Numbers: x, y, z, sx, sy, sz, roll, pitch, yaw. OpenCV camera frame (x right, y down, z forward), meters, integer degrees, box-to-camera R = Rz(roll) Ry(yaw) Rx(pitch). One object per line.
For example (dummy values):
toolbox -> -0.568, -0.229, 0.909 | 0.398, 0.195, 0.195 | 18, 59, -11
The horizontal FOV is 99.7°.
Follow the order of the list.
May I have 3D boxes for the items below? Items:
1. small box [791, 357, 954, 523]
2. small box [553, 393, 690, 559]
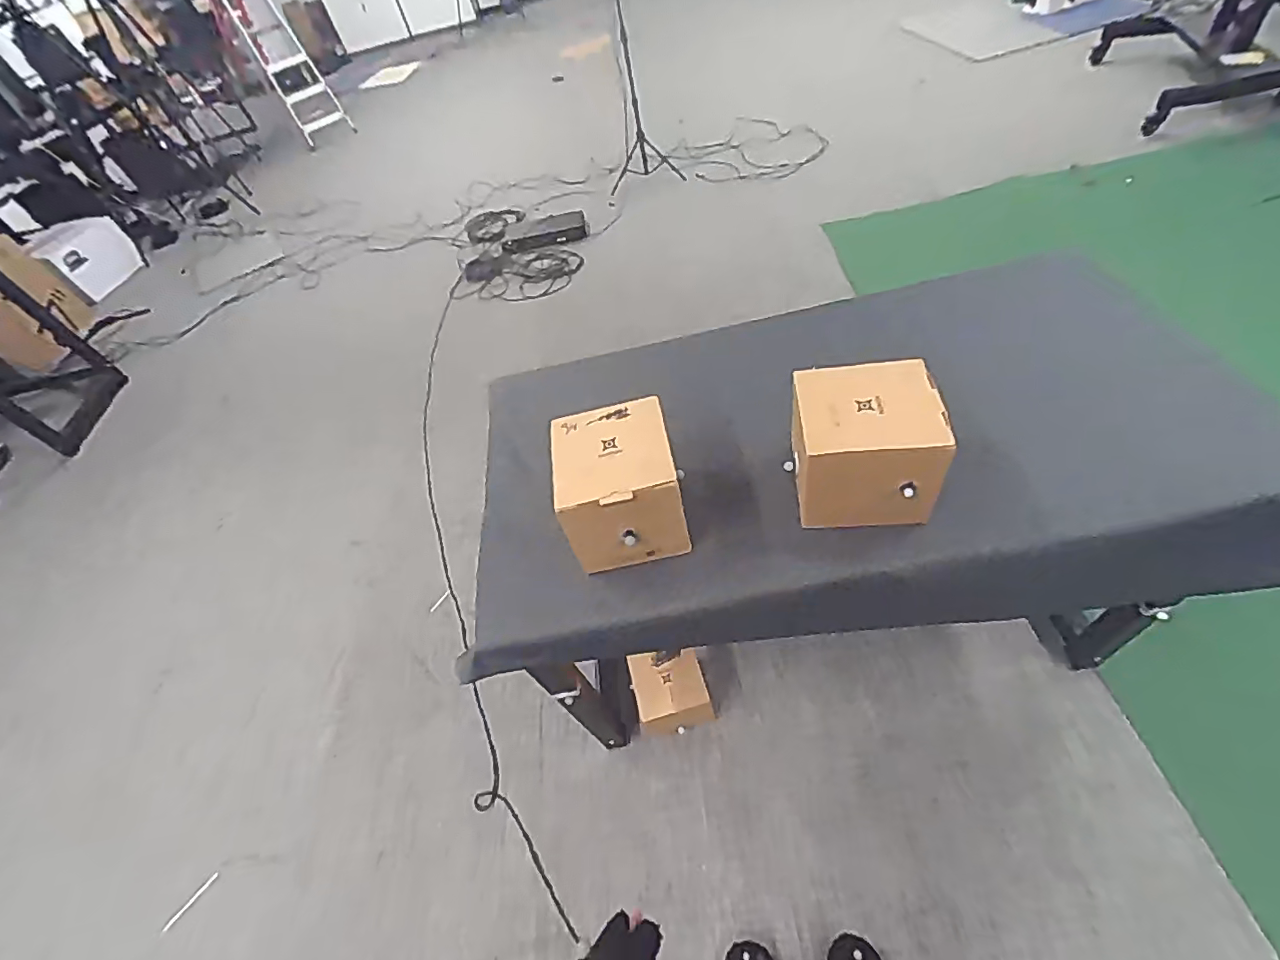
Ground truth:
small box -> 0.316, -0.052, 0.778 | 0.179, 0.176, 0.168 | -5, 50, 11
small box -> -0.025, 0.002, 0.811 | 0.168, 0.176, 0.179 | -12, 50, 3
